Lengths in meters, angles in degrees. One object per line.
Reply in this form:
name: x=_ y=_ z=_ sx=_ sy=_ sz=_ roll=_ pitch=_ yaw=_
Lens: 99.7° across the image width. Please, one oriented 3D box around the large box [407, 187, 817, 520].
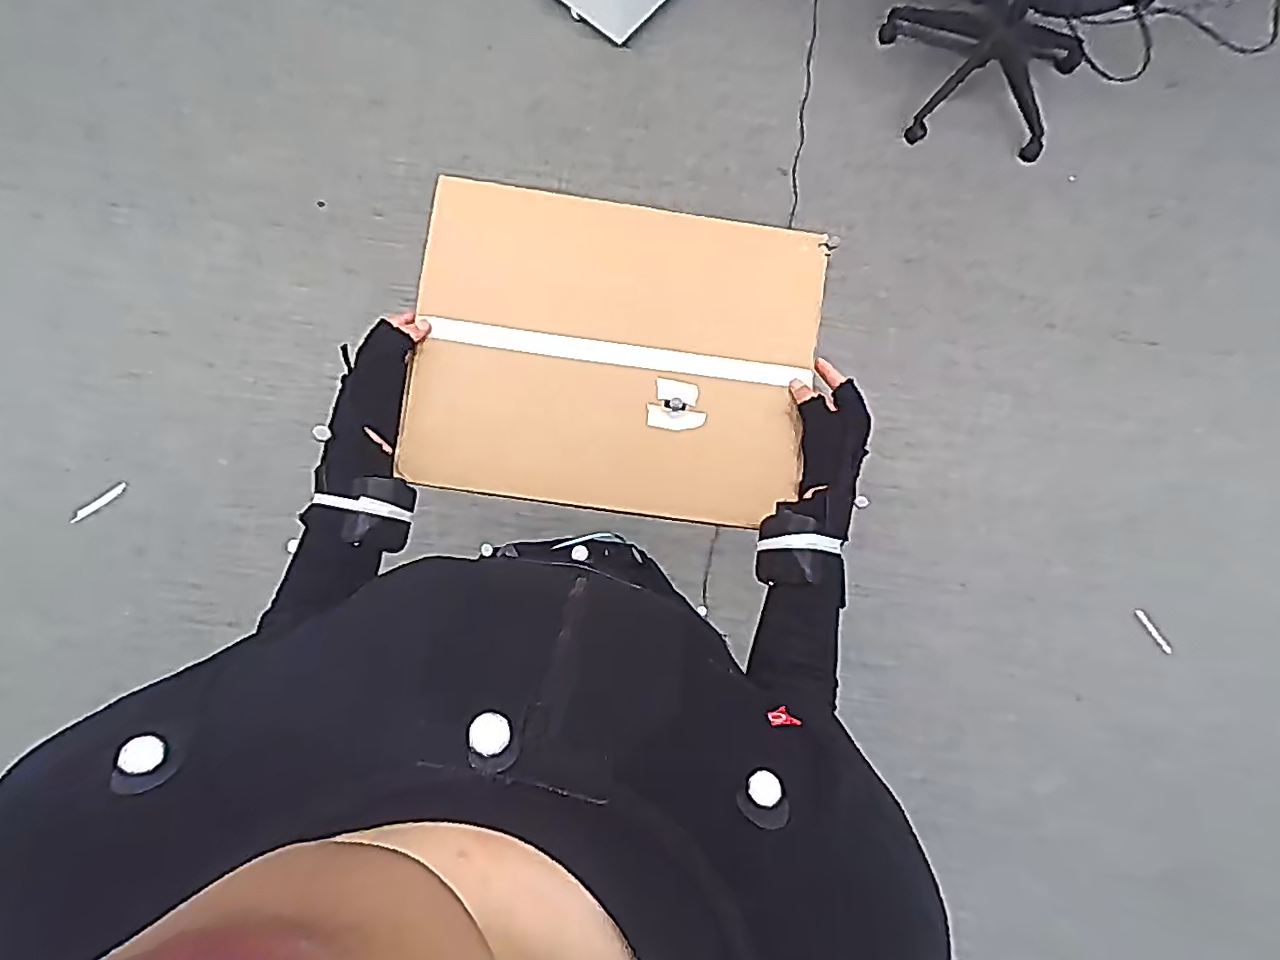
large box: x=-0.033 y=-0.124 z=0.709 sx=0.408 sy=0.320 sz=0.320 roll=8 pitch=88 yaw=-3
